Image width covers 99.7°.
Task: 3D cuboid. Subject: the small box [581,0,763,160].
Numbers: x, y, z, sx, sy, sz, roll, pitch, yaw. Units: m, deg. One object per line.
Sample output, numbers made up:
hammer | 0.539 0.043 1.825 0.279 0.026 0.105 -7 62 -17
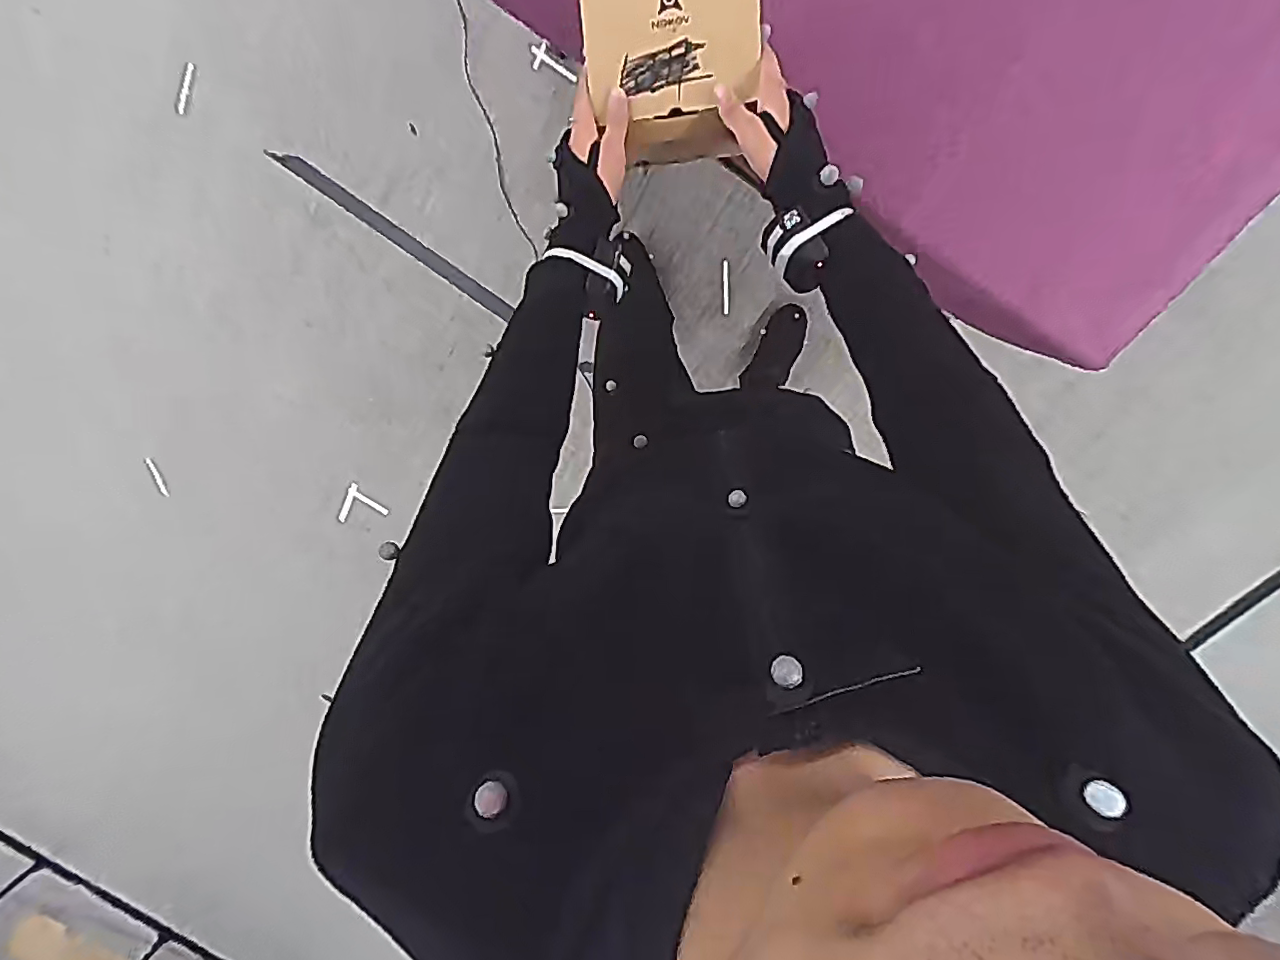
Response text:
small box | 0.038 -0.454 0.563 0.168 0.176 0.179 -3 106 8
